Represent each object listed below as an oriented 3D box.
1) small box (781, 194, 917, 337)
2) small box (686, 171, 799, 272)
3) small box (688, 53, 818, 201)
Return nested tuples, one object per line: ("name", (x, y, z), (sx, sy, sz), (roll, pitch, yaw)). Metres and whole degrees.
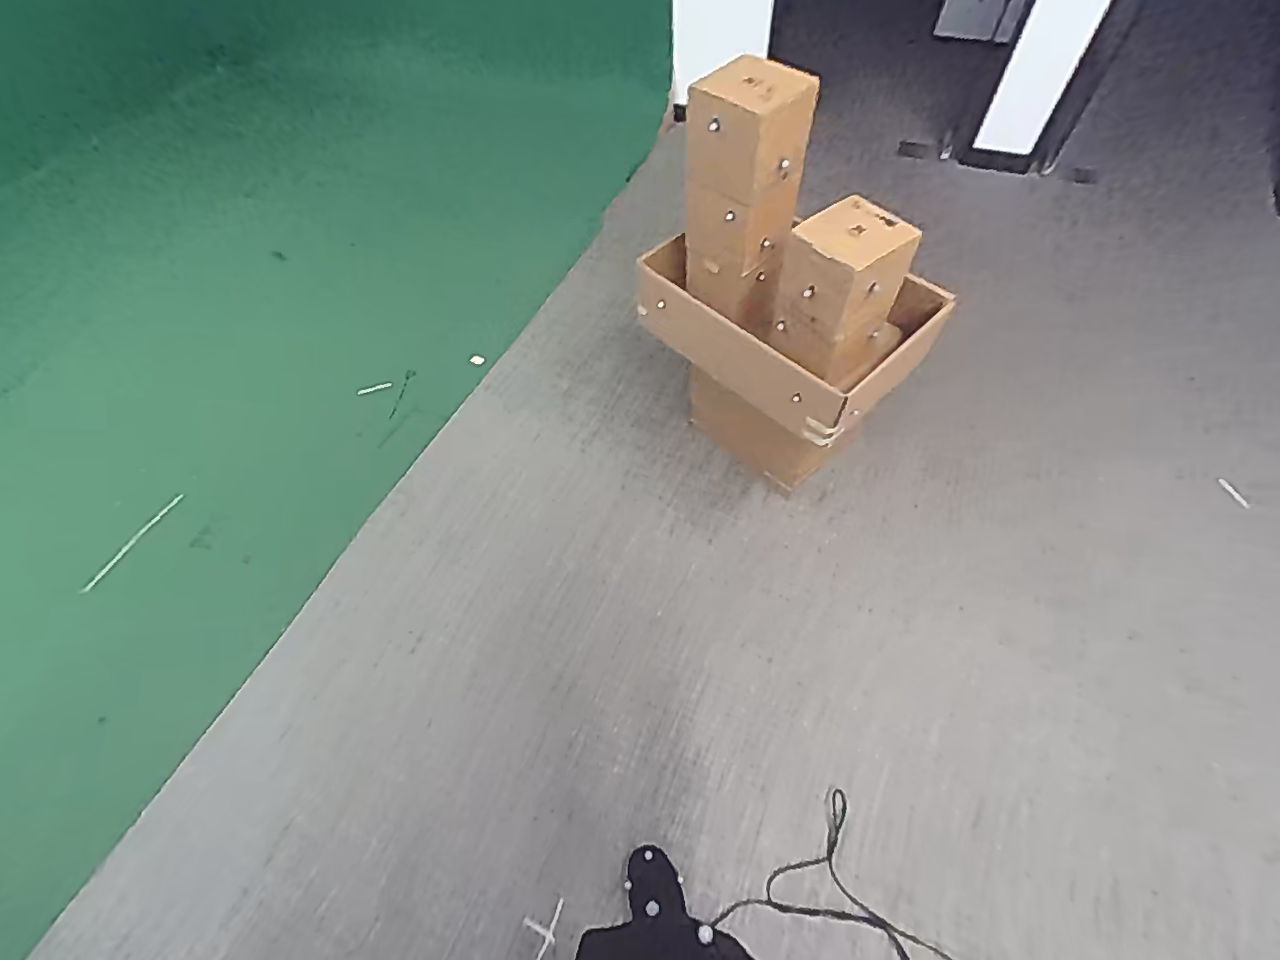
("small box", (0.396, -0.415, 1.062), (0.179, 0.176, 0.168), (-33, 63, -15))
("small box", (0.214, -0.592, 1.184), (0.168, 0.176, 0.179), (-40, 66, -19))
("small box", (0.205, -0.674, 1.040), (0.168, 0.176, 0.179), (-41, 66, -19))
